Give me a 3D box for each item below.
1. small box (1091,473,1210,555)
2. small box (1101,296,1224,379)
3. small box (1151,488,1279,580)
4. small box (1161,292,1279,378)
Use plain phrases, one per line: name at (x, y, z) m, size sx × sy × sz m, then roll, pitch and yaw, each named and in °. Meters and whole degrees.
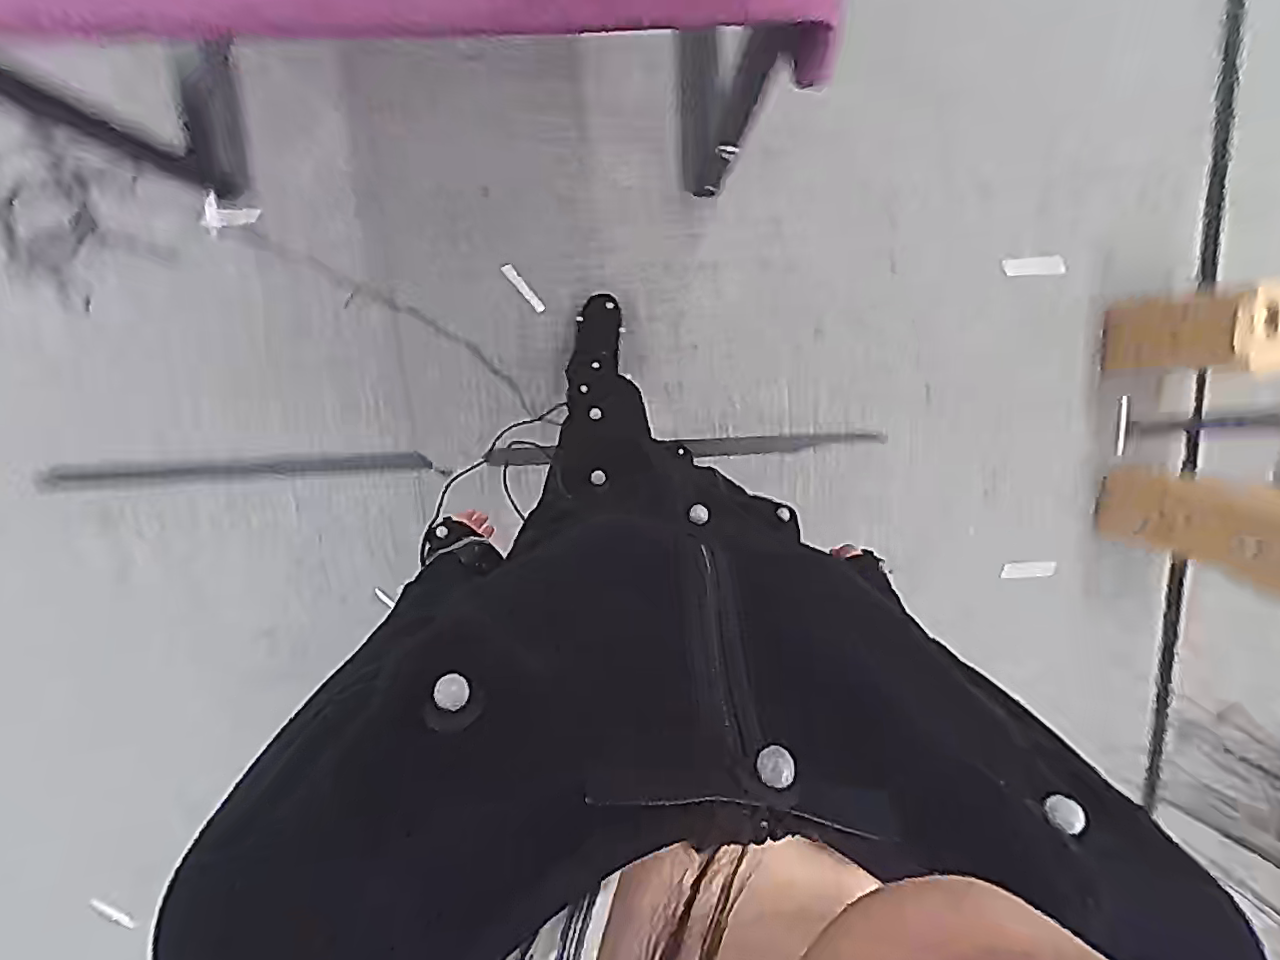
small box at (1.321, 0.086, 1.395) m, size 0.168 × 0.176 × 0.179 m, roll 1°, pitch 101°, yaw -2°
small box at (1.272, -0.340, 1.313) m, size 0.168 × 0.176 × 0.179 m, roll -6°, pitch 100°, yaw -2°
small box at (1.339, 0.117, 1.236) m, size 0.179 × 0.176 × 0.168 m, roll -3°, pitch 102°, yaw -1°
small box at (1.278, -0.304, 1.153) m, size 0.179 × 0.176 × 0.168 m, roll -3°, pitch 101°, yaw -3°
